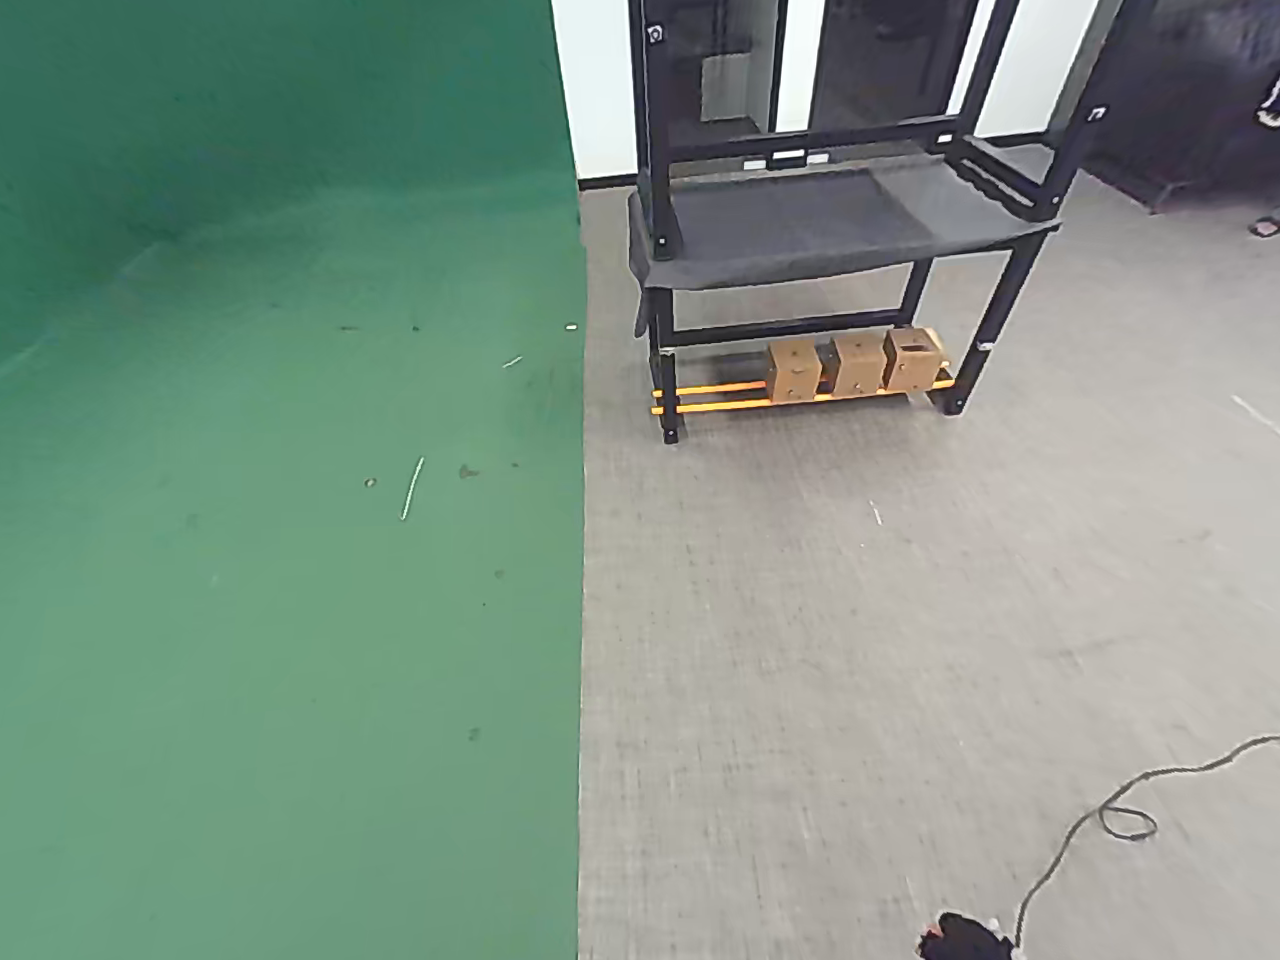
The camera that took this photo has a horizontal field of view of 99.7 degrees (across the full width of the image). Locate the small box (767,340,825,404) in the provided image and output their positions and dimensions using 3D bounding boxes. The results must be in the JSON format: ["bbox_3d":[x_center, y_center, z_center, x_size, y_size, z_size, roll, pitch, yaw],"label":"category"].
[{"bbox_3d":[0.591,-0.414,2.074,0.168,0.176,0.179,-4,50,1],"label":"small box"}]
